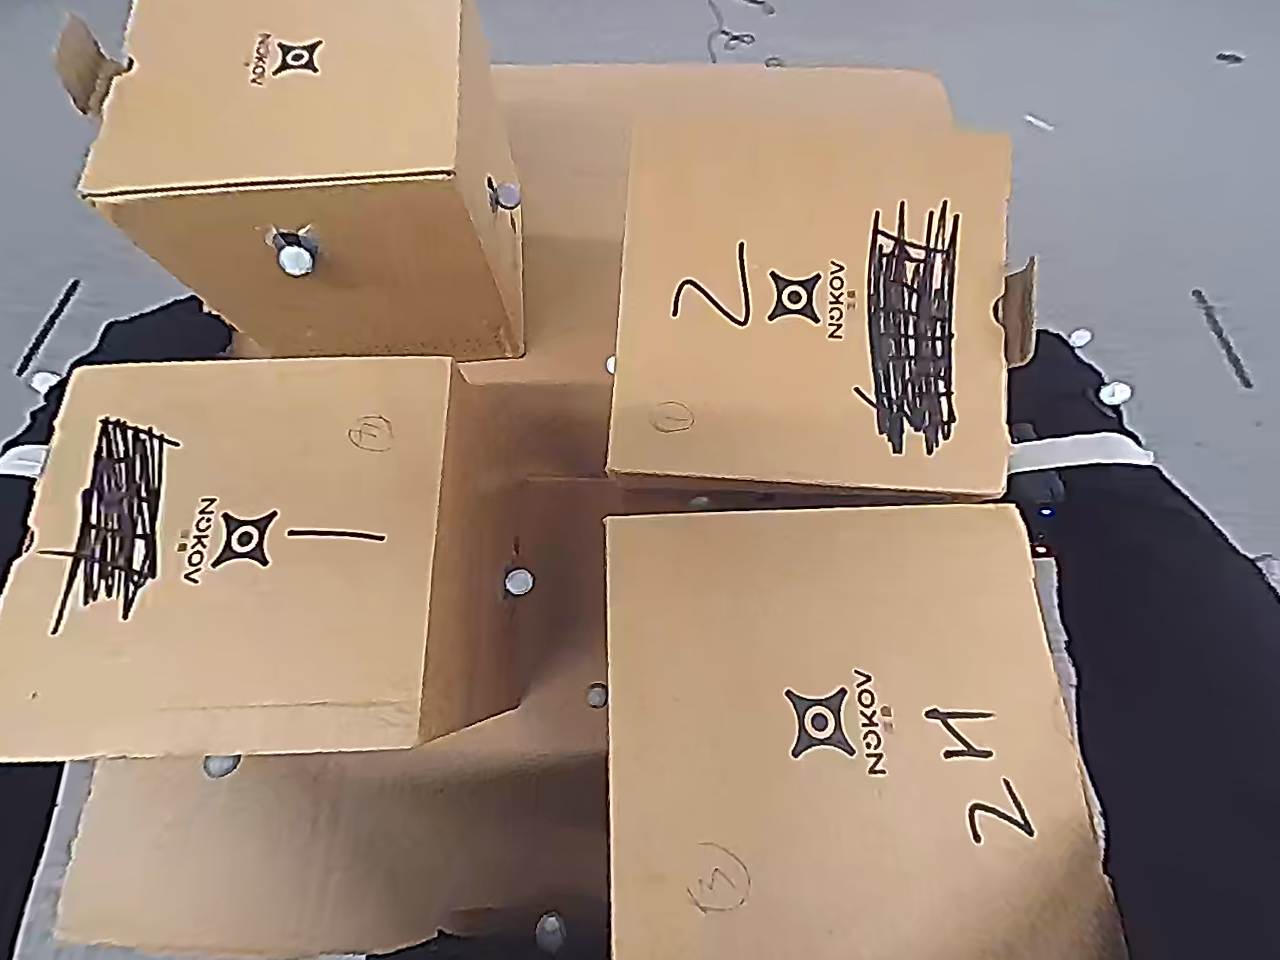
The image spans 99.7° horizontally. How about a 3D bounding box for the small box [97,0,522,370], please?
[{"bbox_3d":[-0.179,-0.188,0.359,0.179,0.176,0.168,-4,72,0],"label":"small box"}]
